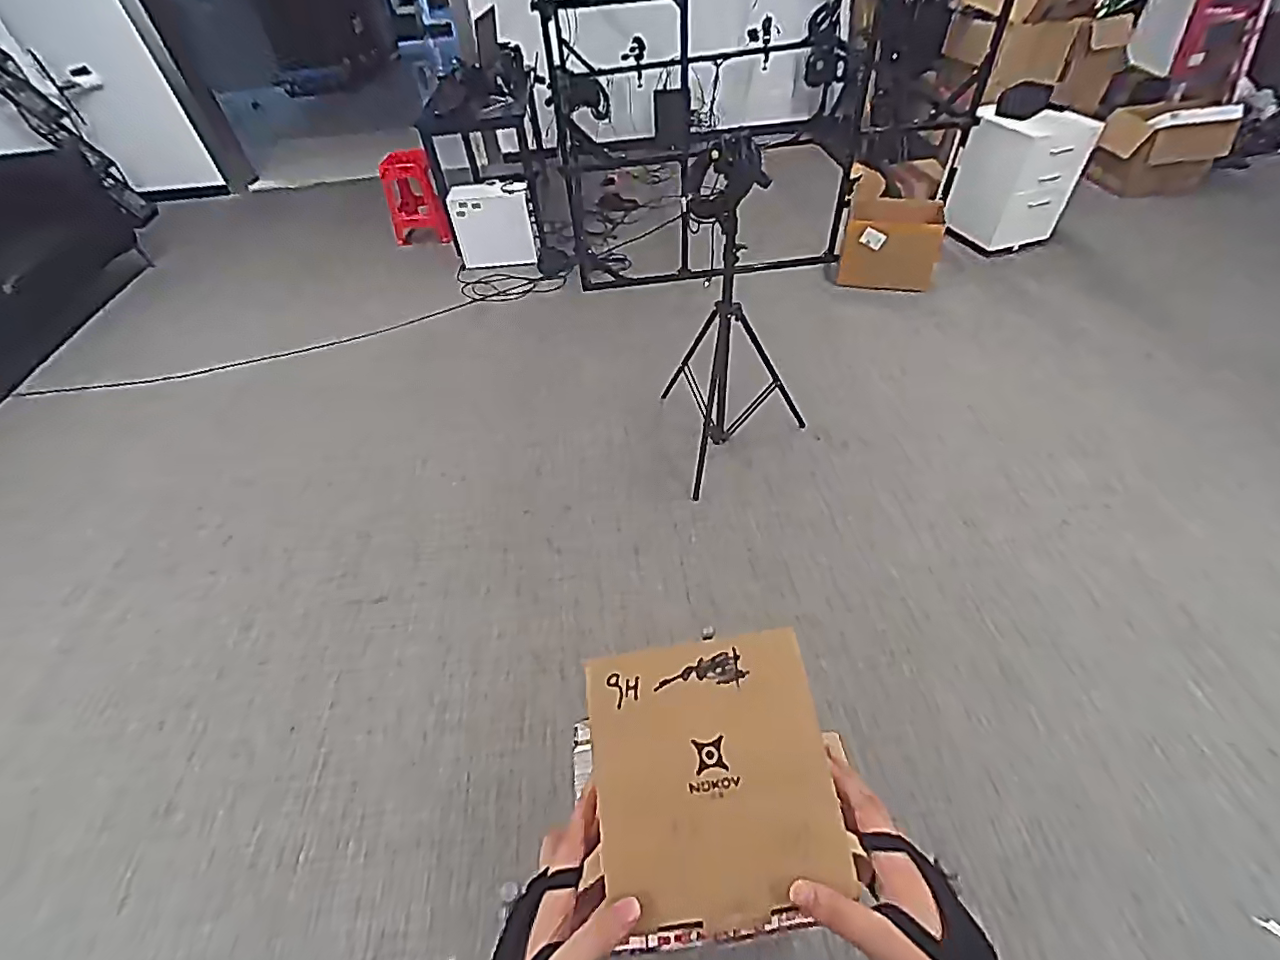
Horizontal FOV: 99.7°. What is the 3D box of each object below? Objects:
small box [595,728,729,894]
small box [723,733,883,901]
[{"bbox_3d":[0.029,0.498,0.812,0.168,0.176,0.179,-9,51,-2],"label":"small box"},{"bbox_3d":[0.223,0.497,0.798,0.168,0.176,0.179,-6,49,-2],"label":"small box"}]
